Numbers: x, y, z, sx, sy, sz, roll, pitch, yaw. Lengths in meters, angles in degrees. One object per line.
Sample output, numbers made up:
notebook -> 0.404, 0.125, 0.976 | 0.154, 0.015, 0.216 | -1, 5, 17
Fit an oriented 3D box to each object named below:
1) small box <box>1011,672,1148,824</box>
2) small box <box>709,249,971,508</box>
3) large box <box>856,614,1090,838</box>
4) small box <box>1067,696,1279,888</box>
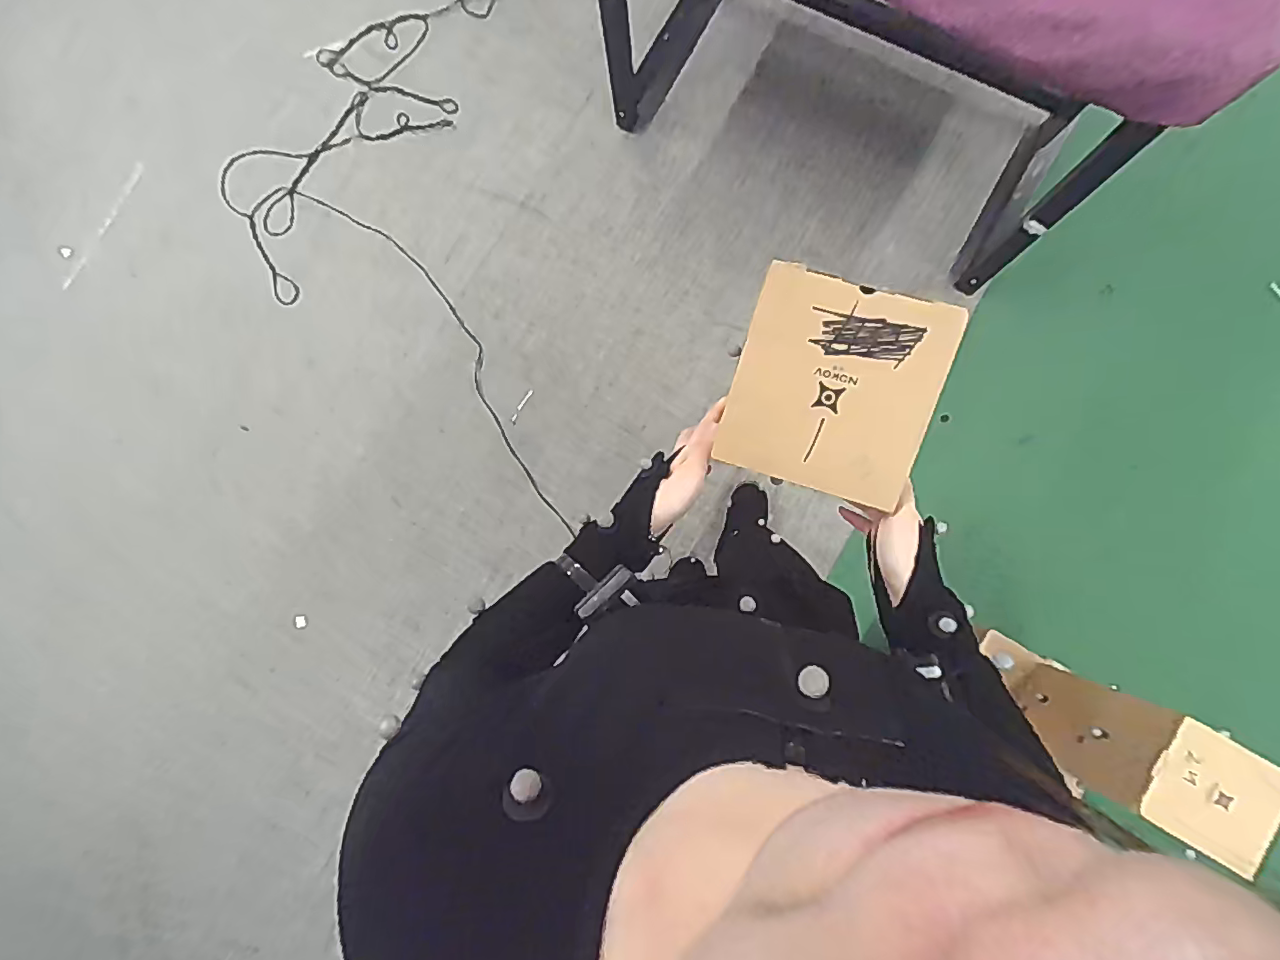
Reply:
small box -> 0.855, 0.486, 1.010 | 0.179, 0.176, 0.168 | 32, 87, 7
small box -> 0.171, -0.092, 0.520 | 0.168, 0.176, 0.179 | 18, 100, 7
large box -> 0.774, 0.578, 1.250 | 0.320, 0.320, 0.408 | 31, 87, 8
small box -> 0.840, 0.468, 0.847 | 0.179, 0.176, 0.168 | 30, 87, 7
